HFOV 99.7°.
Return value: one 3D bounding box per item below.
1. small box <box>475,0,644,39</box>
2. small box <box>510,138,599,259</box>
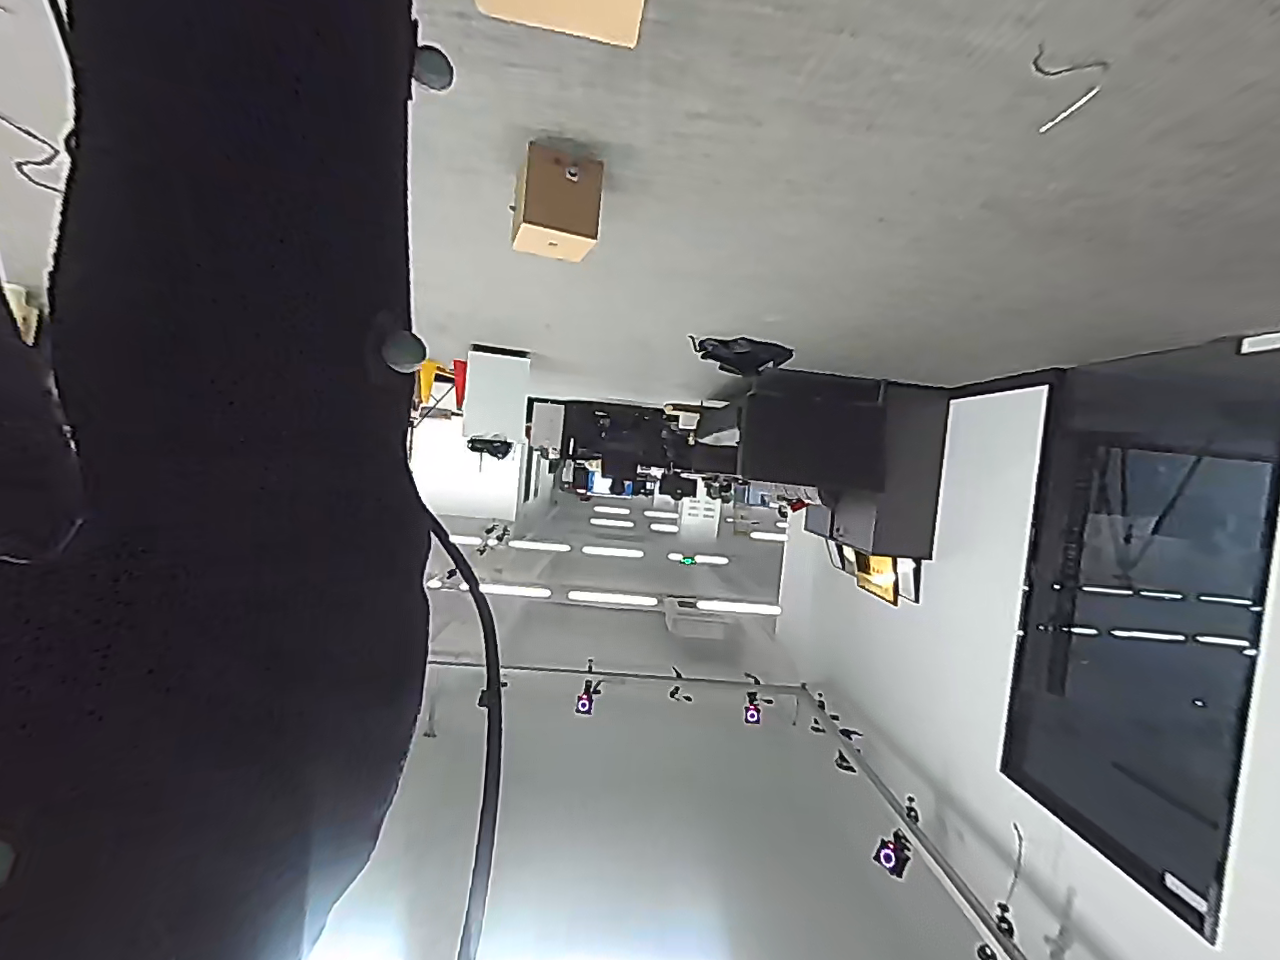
[{"bbox_3d":[-0.071,-0.571,0.503,0.179,0.176,0.168,5,-177,-8],"label":"small box"},{"bbox_3d":[-0.193,-0.622,1.212,0.168,0.176,0.179,3,-177,-21],"label":"small box"}]
